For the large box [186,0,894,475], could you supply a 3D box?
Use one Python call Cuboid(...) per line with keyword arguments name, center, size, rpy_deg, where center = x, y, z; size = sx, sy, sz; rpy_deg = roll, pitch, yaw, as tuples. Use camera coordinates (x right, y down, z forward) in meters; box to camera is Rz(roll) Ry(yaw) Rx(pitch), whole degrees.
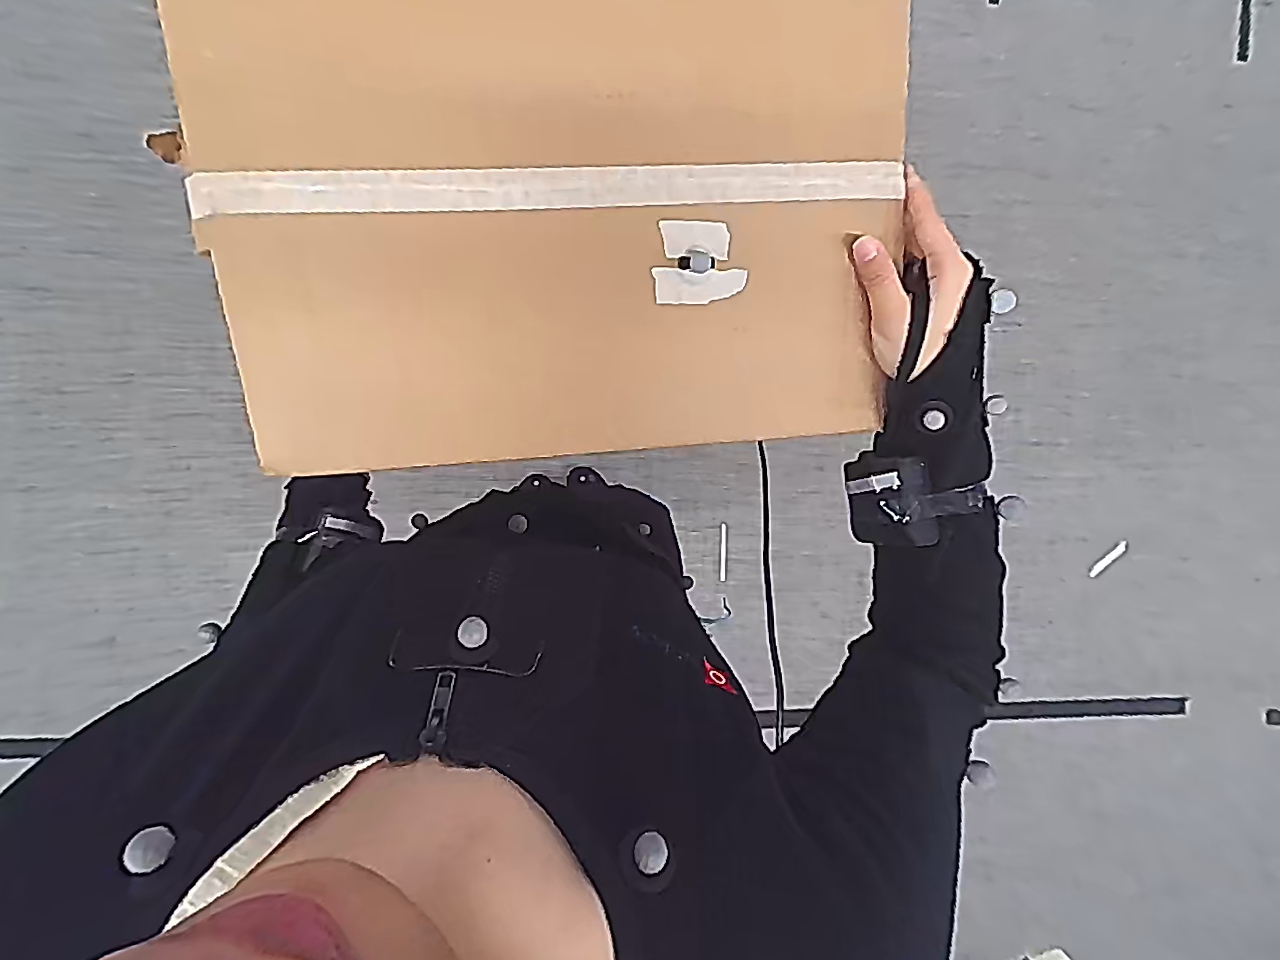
Cuboid(name="large box", center=(-0.058, -0.202, 0.470), size=(0.408, 0.320, 0.320), rpy_deg=(-6, 104, -8))
